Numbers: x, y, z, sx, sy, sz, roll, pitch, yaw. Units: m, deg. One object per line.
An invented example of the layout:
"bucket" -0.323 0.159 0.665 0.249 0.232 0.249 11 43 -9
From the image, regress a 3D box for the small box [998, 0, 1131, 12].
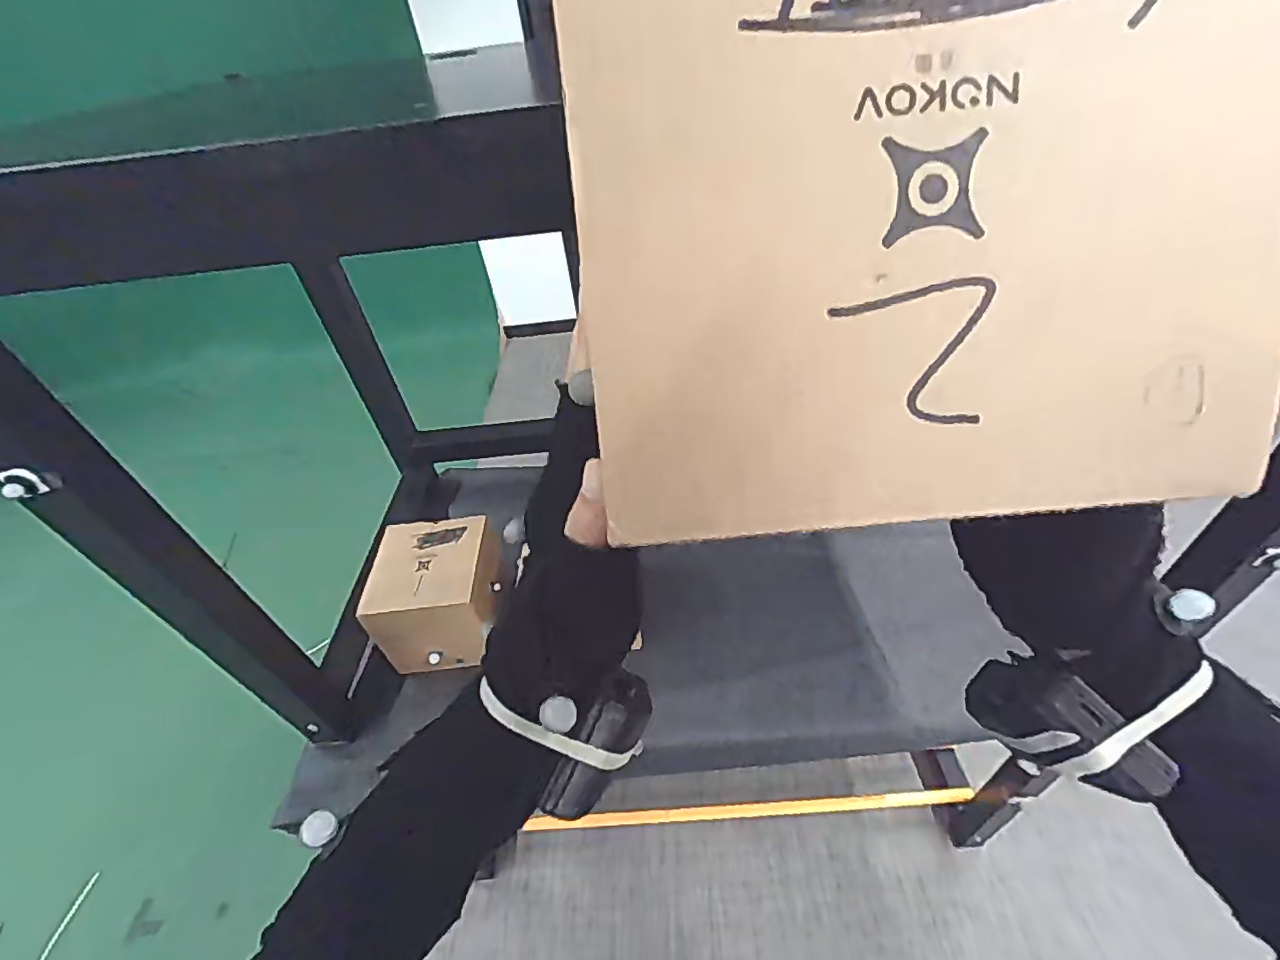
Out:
"small box" 0.332 -0.375 0.293 0.168 0.176 0.179 1 42 9

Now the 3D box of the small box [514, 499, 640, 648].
"small box" -0.091 0.155 0.869 0.168 0.176 0.179 -5 41 2

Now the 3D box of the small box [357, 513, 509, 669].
"small box" -0.317 0.178 0.872 0.168 0.176 0.179 -7 42 1
